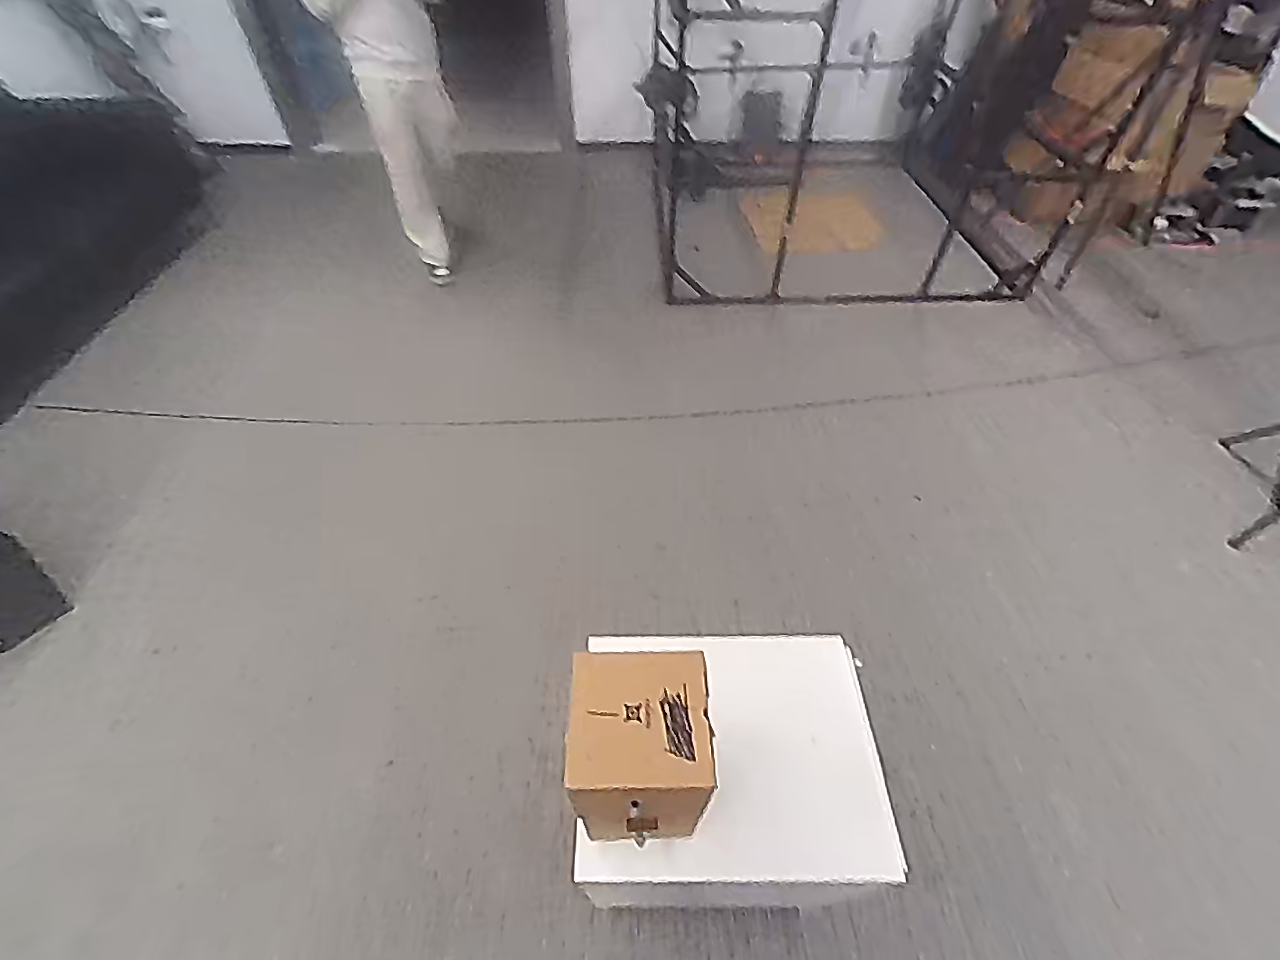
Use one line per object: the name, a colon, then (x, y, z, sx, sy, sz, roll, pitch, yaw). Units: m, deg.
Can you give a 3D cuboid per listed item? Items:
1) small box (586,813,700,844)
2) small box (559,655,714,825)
small box: (-0.002, 0.448, 0.841, 0.168, 0.176, 0.179, -1, 49, 0)
small box: (-0.004, 0.344, 0.714, 0.179, 0.176, 0.168, -1, 48, 0)
